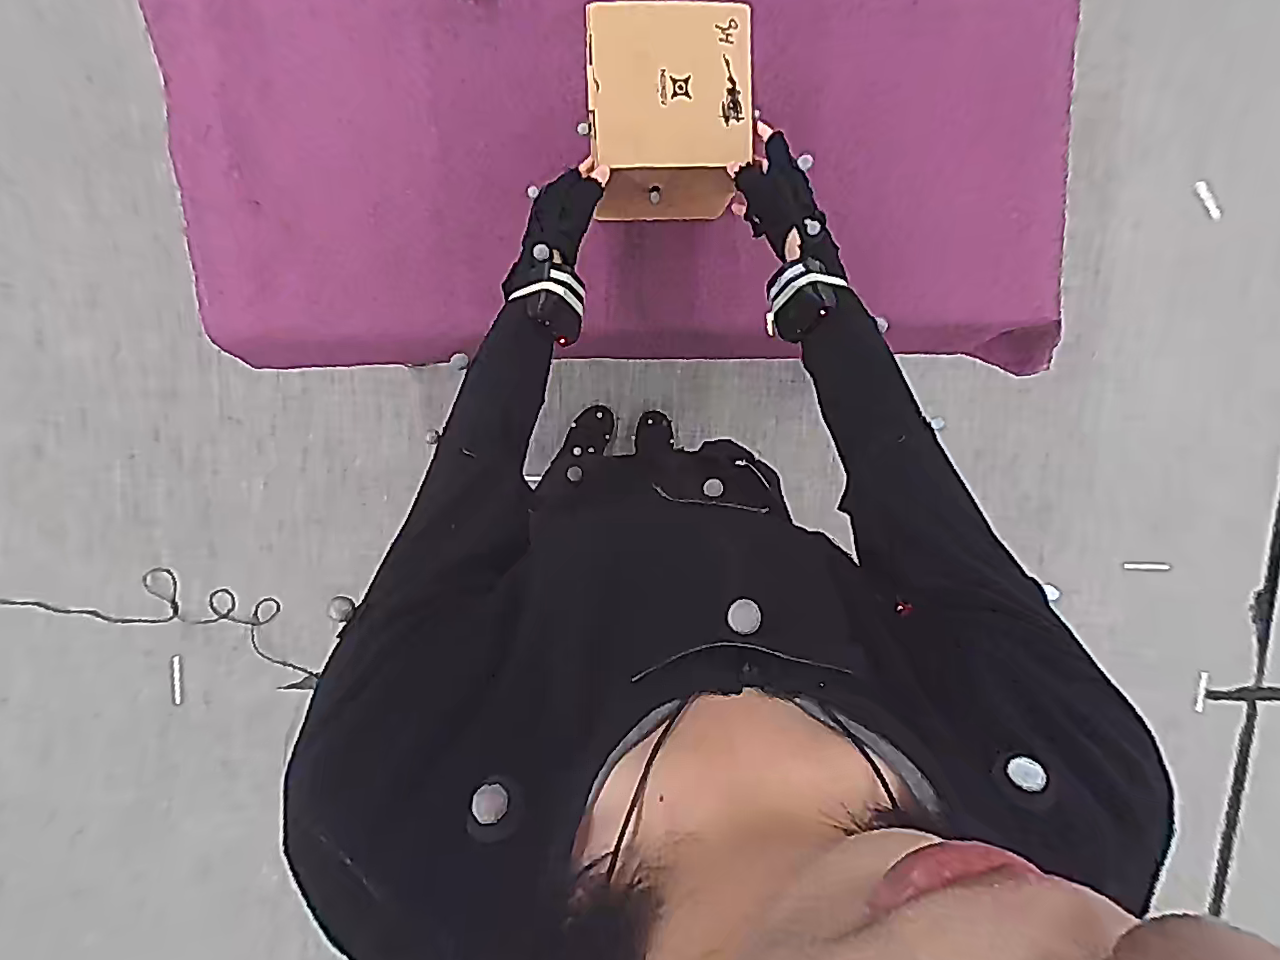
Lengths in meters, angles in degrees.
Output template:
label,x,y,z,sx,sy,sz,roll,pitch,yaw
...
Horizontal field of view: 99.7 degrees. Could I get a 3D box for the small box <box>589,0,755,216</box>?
label,x,y,z,sx,sy,sz,roll,pitch,yaw
small box,0.033,-0.434,0.655,0.179,0.176,0.168,-3,97,-3
